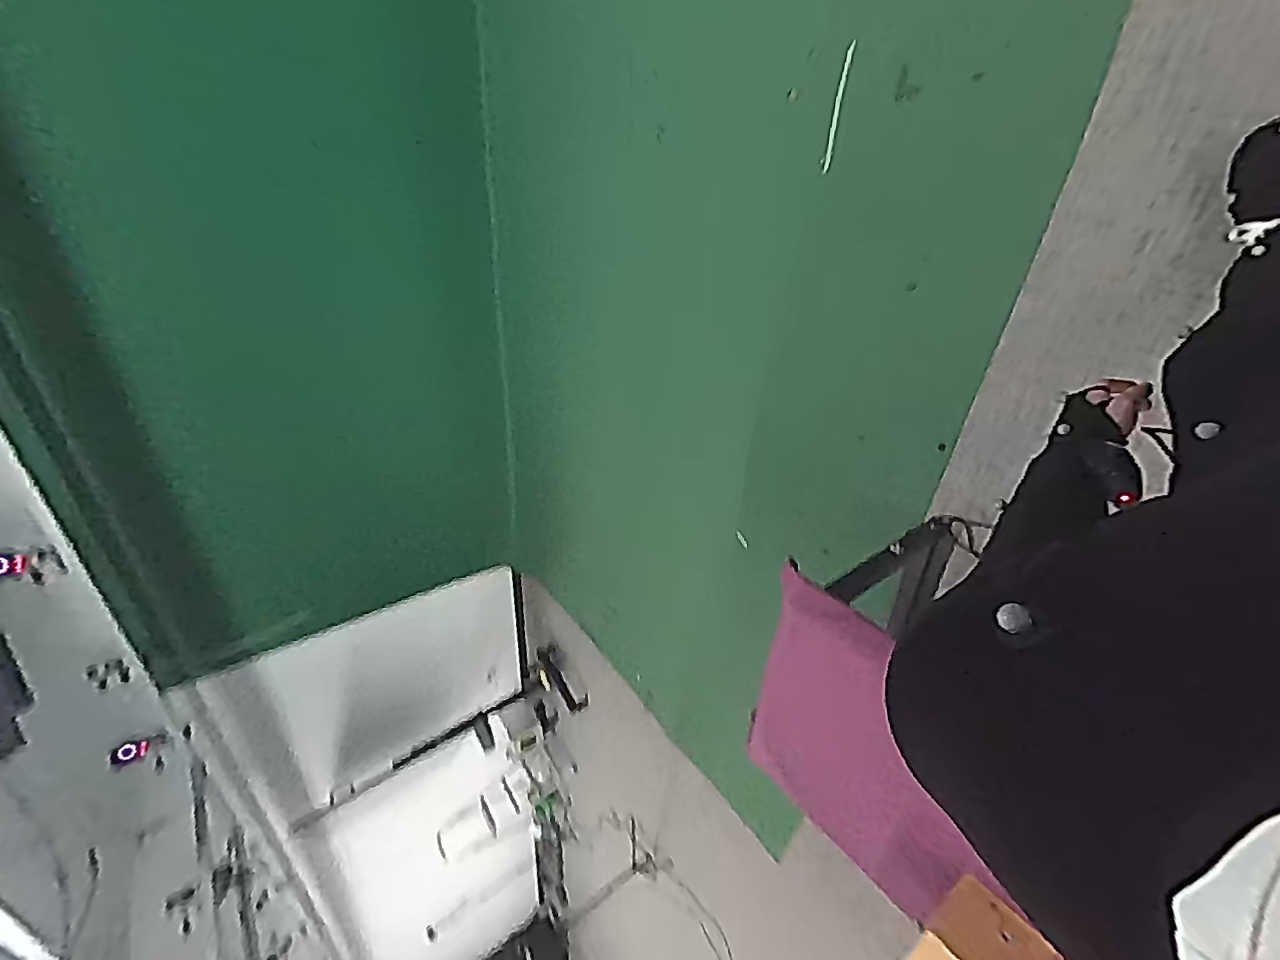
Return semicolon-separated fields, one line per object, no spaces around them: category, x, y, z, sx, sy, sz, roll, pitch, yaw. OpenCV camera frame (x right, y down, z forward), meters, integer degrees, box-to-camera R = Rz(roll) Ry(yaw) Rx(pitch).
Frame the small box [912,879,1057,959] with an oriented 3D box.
small box;0.651;0.925;1.032;0.168;0.176;0.179;34;130;42
